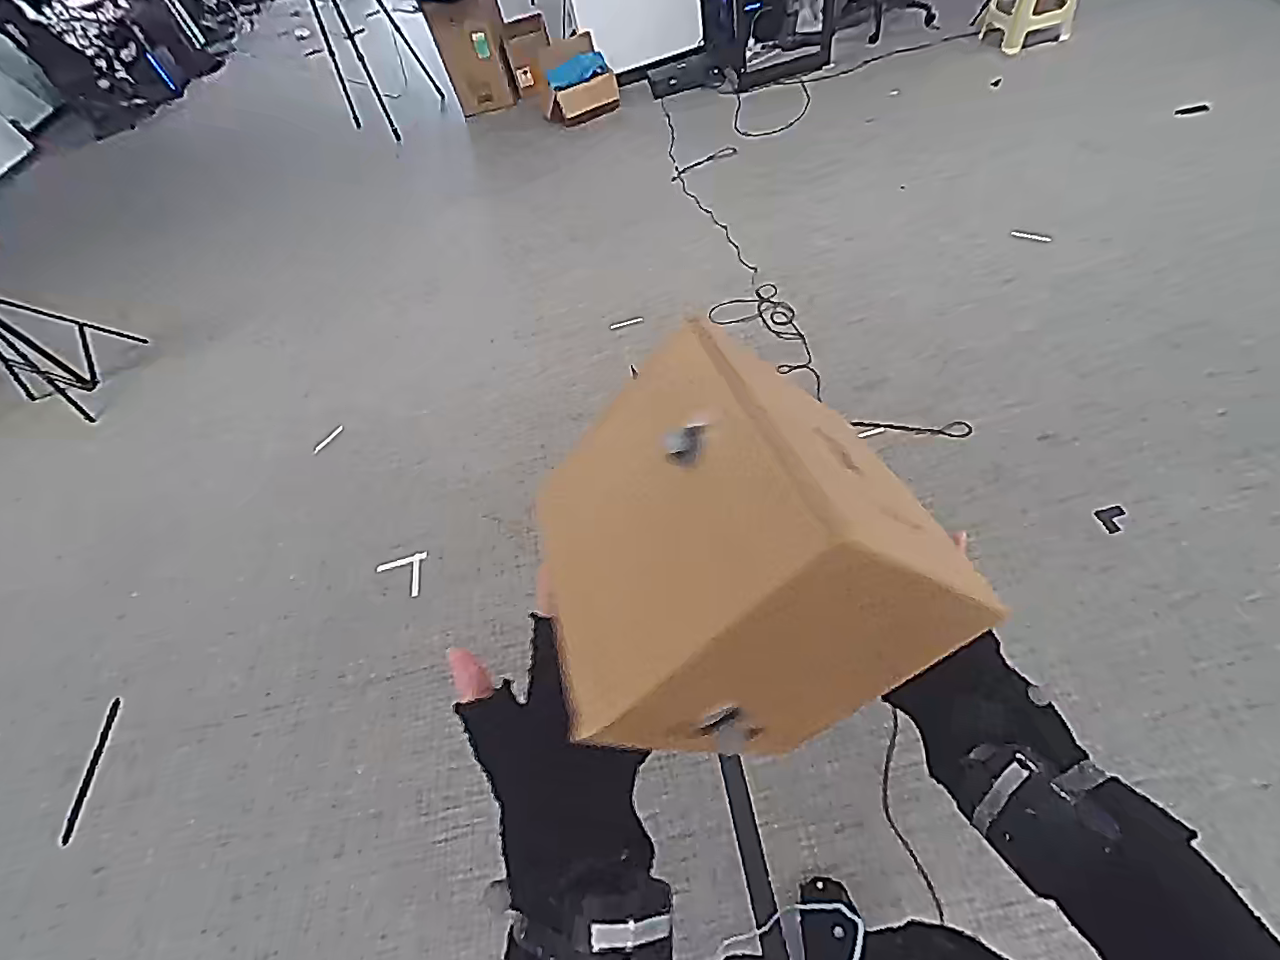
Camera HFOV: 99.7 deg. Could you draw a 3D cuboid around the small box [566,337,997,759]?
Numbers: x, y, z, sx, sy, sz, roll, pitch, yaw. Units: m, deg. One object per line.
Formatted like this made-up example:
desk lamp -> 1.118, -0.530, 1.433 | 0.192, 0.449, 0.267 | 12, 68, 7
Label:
small box -> 0.069, 0.049, 0.349 | 0.176, 0.168, 0.179 | -47, 39, 24
